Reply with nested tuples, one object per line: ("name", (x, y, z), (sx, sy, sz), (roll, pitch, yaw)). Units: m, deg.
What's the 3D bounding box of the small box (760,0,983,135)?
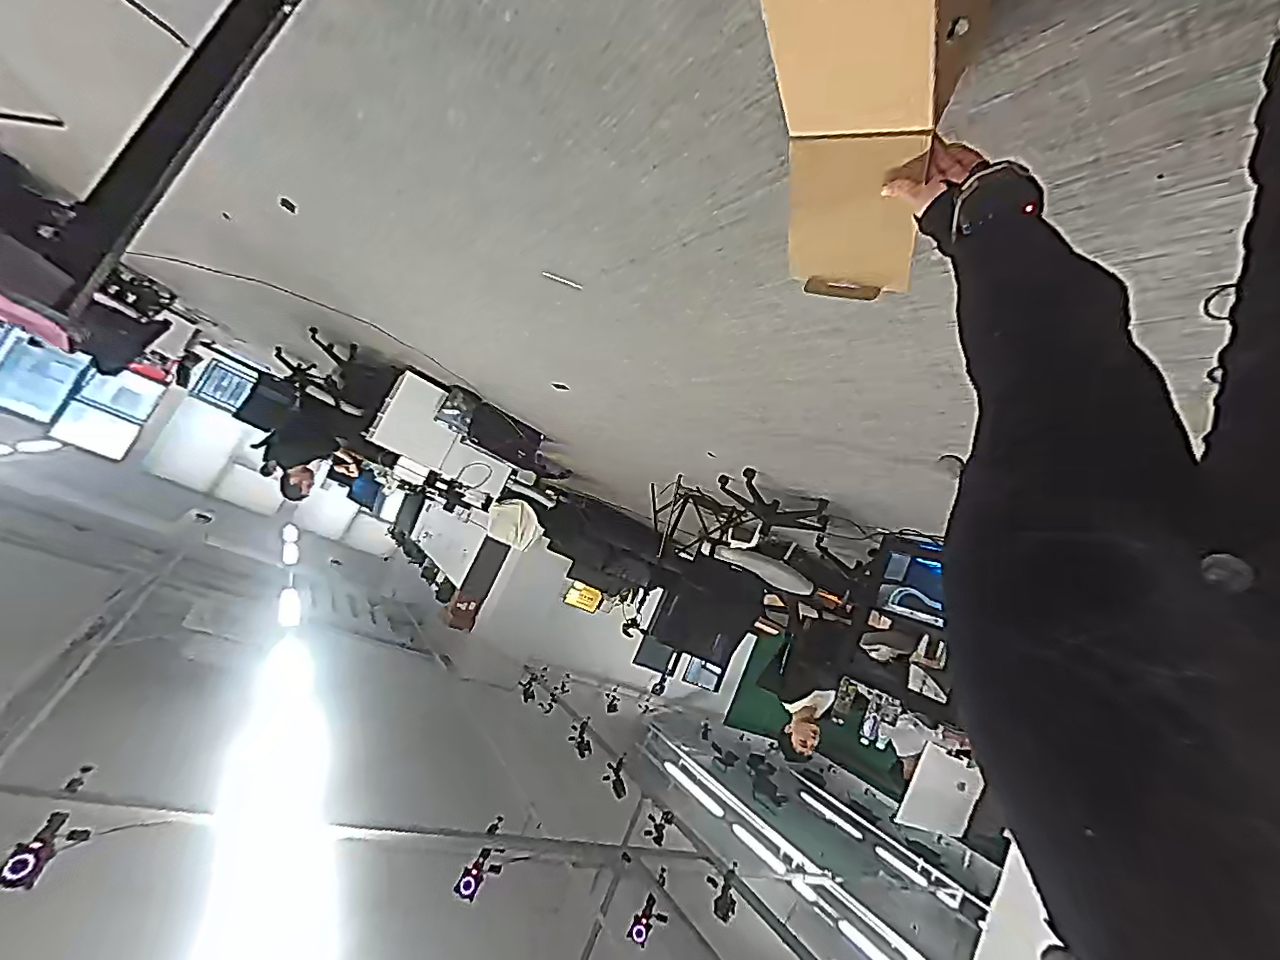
("small box", (0.242, -0.493, 0.549), (0.168, 0.176, 0.179), (19, 167, 31))
